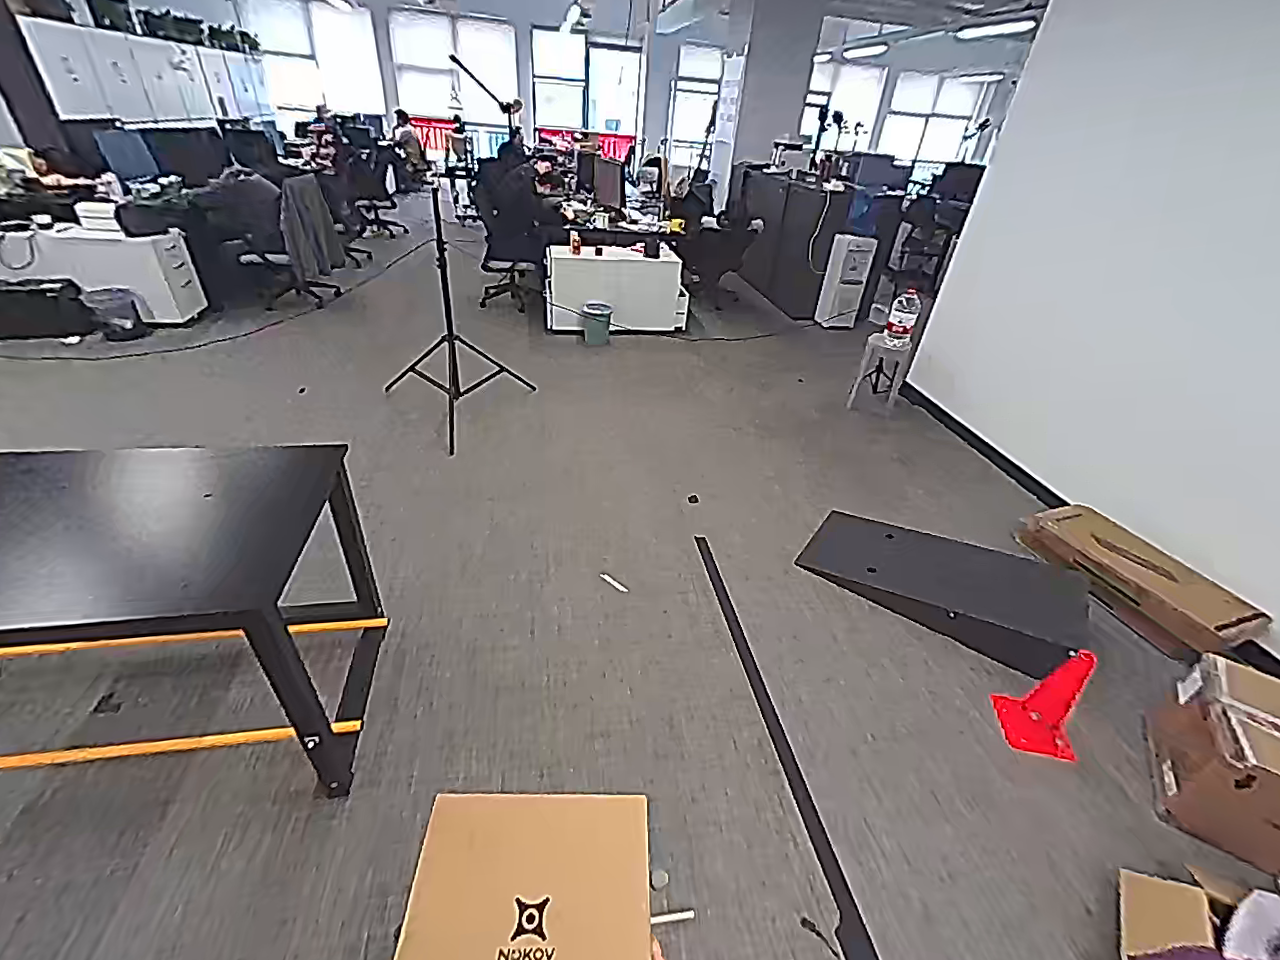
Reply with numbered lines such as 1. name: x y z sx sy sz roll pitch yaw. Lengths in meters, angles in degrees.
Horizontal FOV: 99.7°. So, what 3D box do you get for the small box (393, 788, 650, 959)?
1. small box: -0.081 0.361 0.408 0.168 0.176 0.179 1 38 -3
